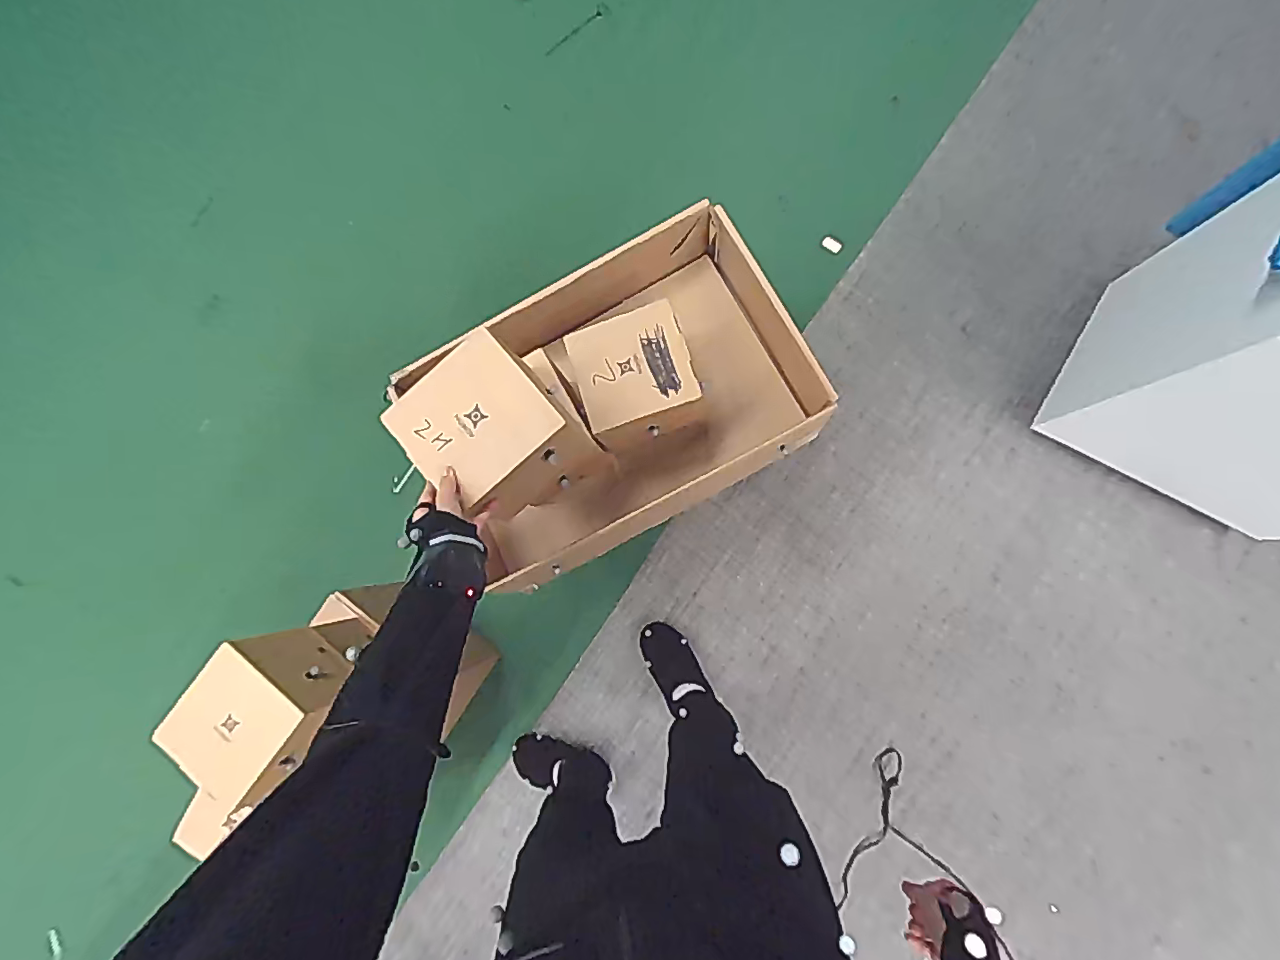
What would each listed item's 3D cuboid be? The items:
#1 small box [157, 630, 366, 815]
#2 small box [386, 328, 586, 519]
[{"bbox_3d":[-0.564,0.356,0.837,0.168,0.176,0.179,36,89,9],"label":"small box"},{"bbox_3d":[-0.190,-0.064,0.730,0.179,0.176,0.168,-41,80,2],"label":"small box"}]
